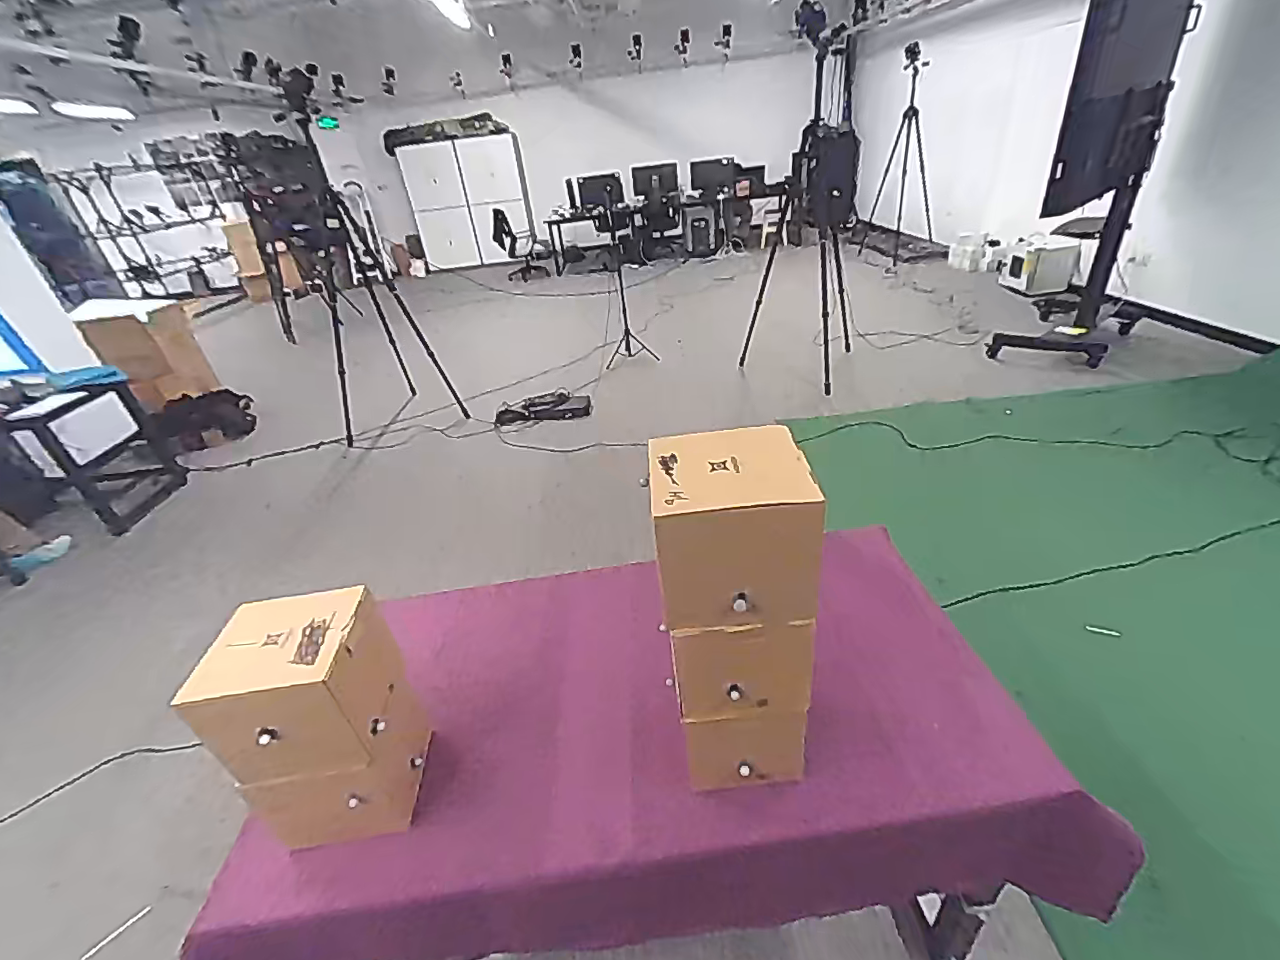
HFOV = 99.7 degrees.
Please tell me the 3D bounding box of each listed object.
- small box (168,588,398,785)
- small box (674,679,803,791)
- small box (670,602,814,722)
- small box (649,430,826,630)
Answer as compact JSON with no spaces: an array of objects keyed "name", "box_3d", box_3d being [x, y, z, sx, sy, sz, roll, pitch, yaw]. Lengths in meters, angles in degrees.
[{"name":"small box","box_3d":[-0.449,0.273,0.721,0.179,0.176,0.168,-9,32,-3]},{"name":"small box","box_3d":[0.138,0.333,0.816,0.168,0.176,0.179,-7,32,2]},{"name":"small box","box_3d":[0.123,0.195,0.731,0.168,0.176,0.179,-6,33,1]},{"name":"small box","box_3d":[0.103,0.058,0.642,0.179,0.176,0.168,-5,32,2]}]
